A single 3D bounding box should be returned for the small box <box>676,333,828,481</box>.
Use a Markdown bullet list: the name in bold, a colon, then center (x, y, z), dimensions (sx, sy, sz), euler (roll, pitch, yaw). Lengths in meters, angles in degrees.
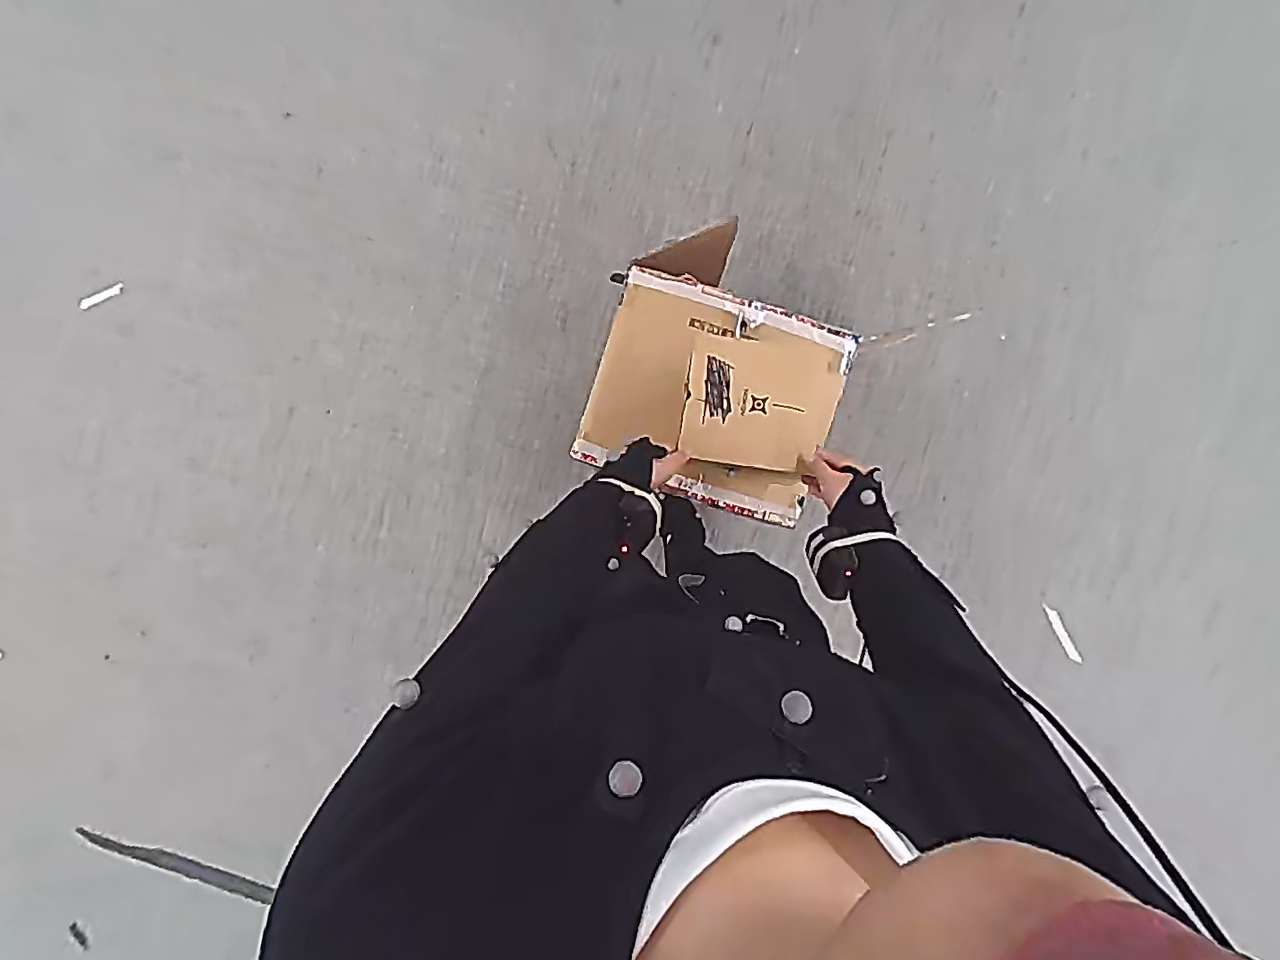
- **small box**: center (0.151, -0.094, 0.769), dimensions (0.179, 0.176, 0.168), euler (8, 86, 7)
